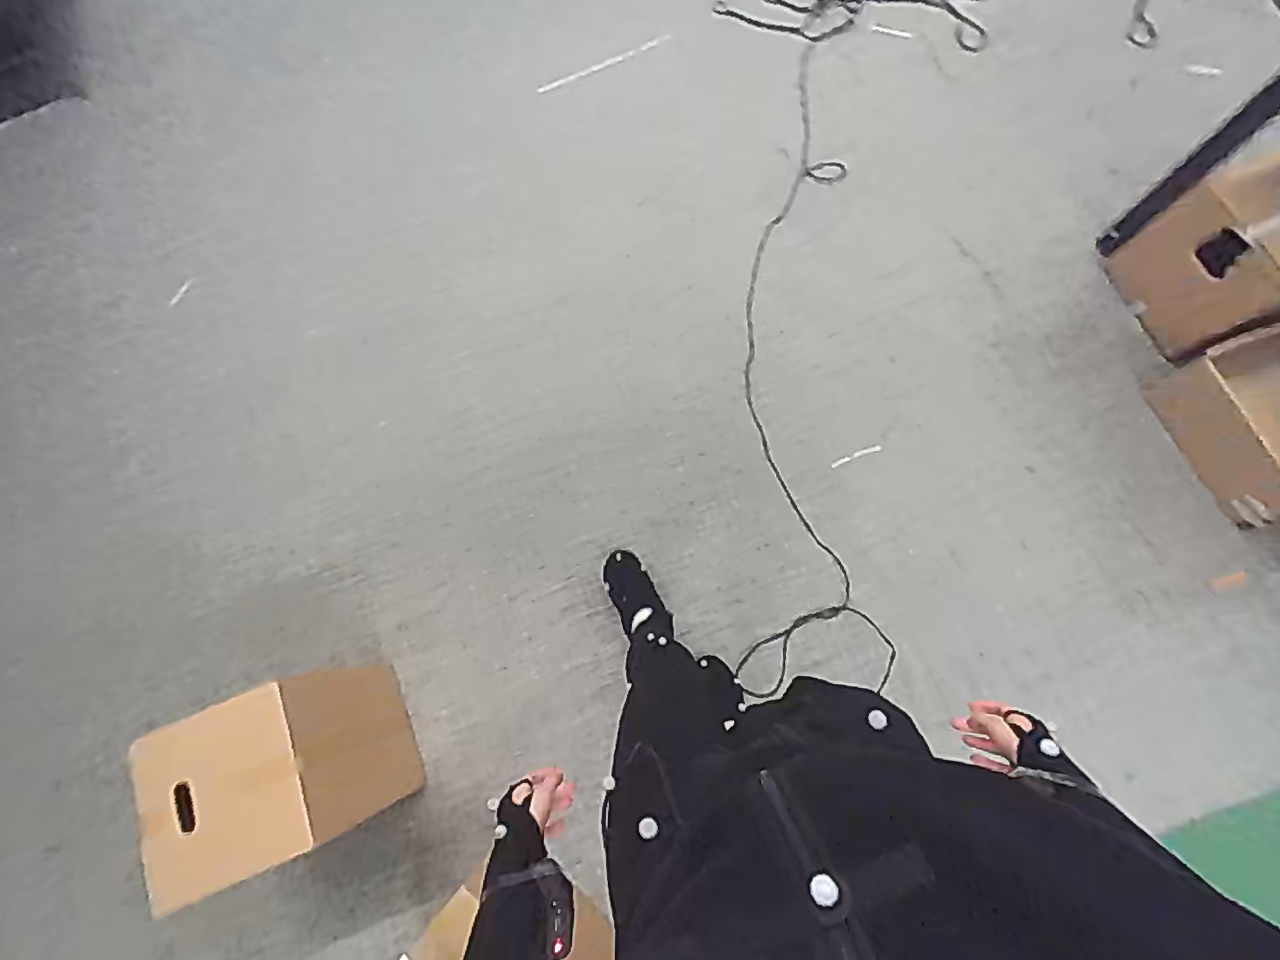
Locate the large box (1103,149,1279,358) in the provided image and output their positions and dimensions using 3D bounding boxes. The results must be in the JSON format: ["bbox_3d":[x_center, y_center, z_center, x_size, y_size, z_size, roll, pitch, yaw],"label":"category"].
[{"bbox_3d":[1.461,-0.550,1.272,0.408,0.320,0.320,-22,75,2],"label":"large box"}]
